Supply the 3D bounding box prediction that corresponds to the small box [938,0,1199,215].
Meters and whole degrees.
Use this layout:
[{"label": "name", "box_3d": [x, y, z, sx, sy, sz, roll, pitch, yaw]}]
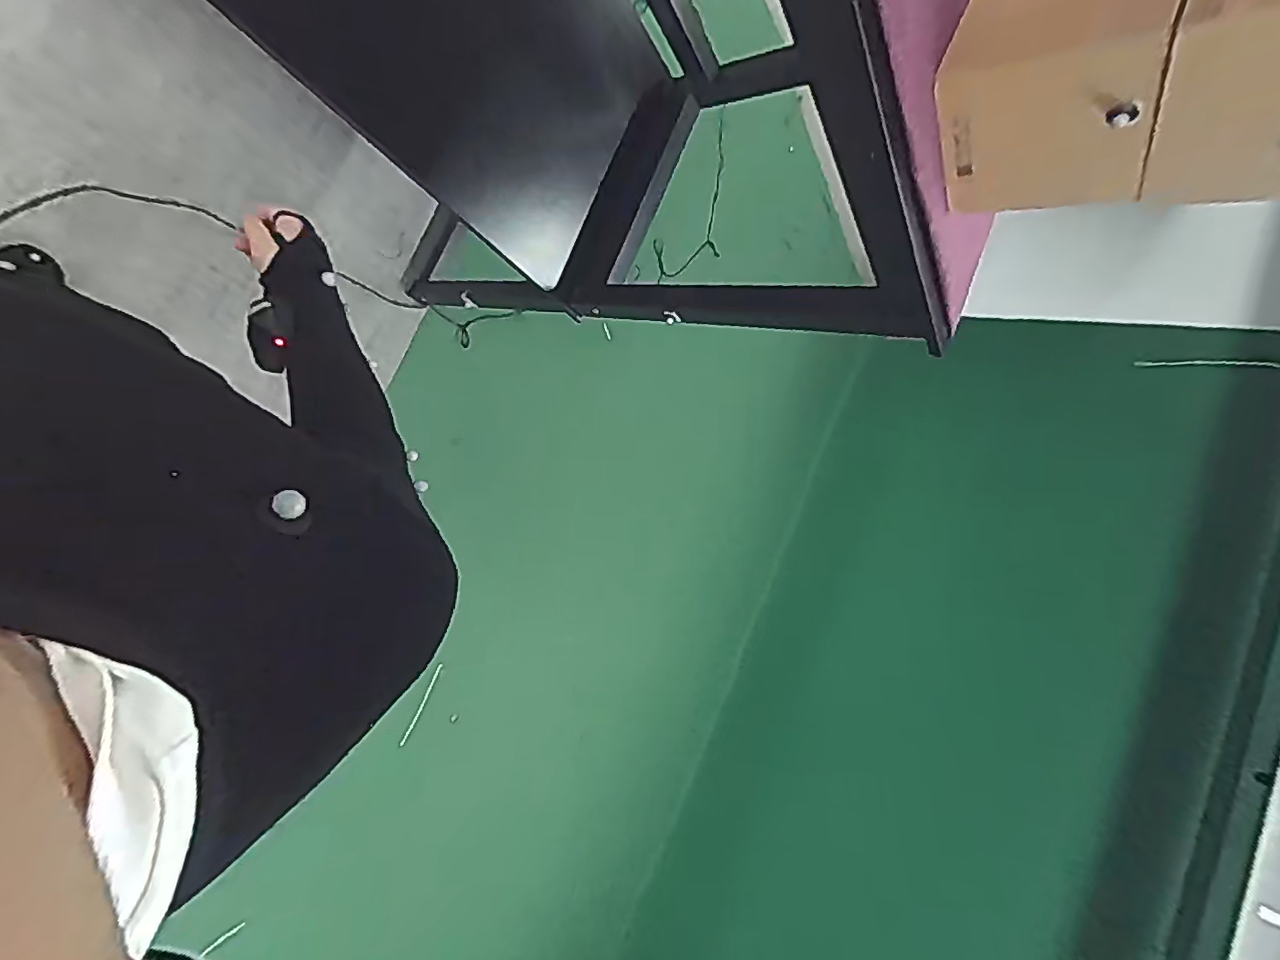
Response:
[{"label": "small box", "box_3d": [0.409, -0.389, 0.524, 0.168, 0.176, 0.179, 37, 75, -49]}]
